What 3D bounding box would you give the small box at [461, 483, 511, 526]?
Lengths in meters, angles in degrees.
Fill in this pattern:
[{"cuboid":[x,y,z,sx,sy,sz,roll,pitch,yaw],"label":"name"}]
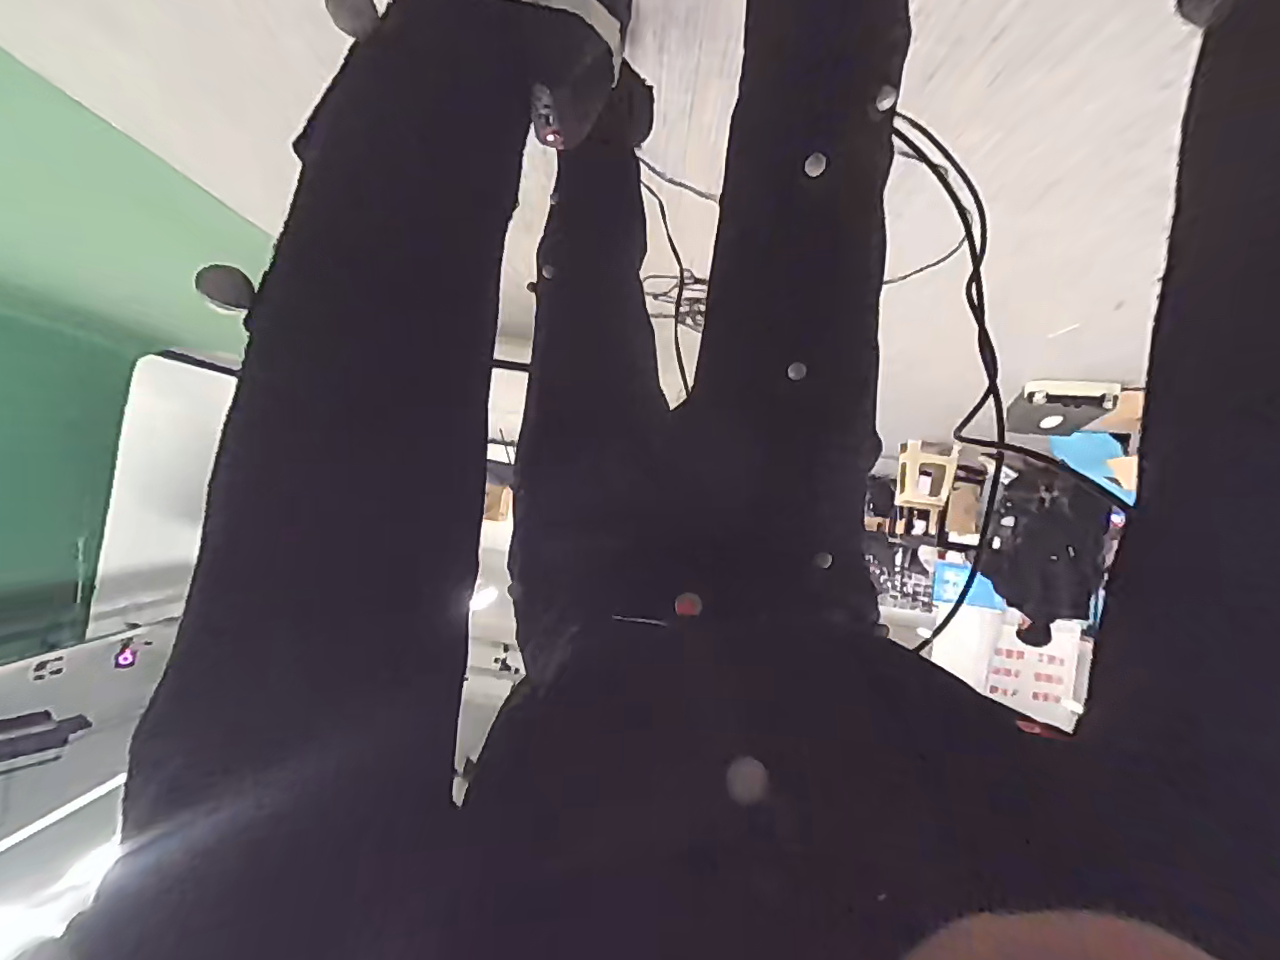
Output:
[{"cuboid":[-0.703,0.109,2.486,0.168,0.176,0.179,9,178,0],"label":"small box"}]
